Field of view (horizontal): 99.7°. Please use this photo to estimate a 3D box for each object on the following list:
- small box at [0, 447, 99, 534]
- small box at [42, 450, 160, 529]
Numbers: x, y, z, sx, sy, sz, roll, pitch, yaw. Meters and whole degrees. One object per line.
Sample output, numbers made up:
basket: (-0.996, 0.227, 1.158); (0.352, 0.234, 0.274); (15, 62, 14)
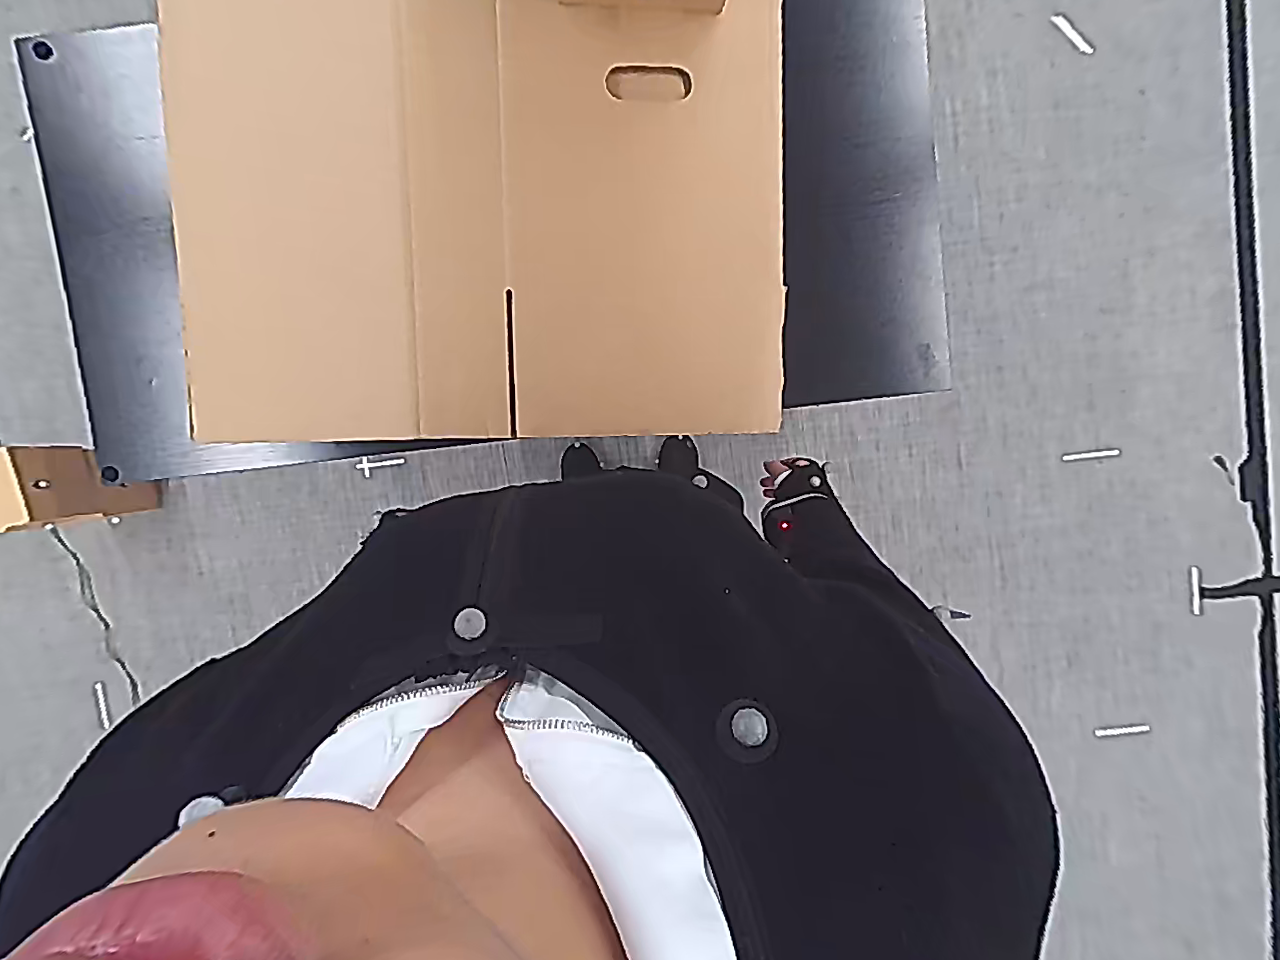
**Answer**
small box: (-1.431, 0.024, 1.260); (0.168, 0.176, 0.179); (-13, 93, 1)
small box: (-1.429, 0.018, 1.423); (0.168, 0.176, 0.179); (-11, 95, 1)
